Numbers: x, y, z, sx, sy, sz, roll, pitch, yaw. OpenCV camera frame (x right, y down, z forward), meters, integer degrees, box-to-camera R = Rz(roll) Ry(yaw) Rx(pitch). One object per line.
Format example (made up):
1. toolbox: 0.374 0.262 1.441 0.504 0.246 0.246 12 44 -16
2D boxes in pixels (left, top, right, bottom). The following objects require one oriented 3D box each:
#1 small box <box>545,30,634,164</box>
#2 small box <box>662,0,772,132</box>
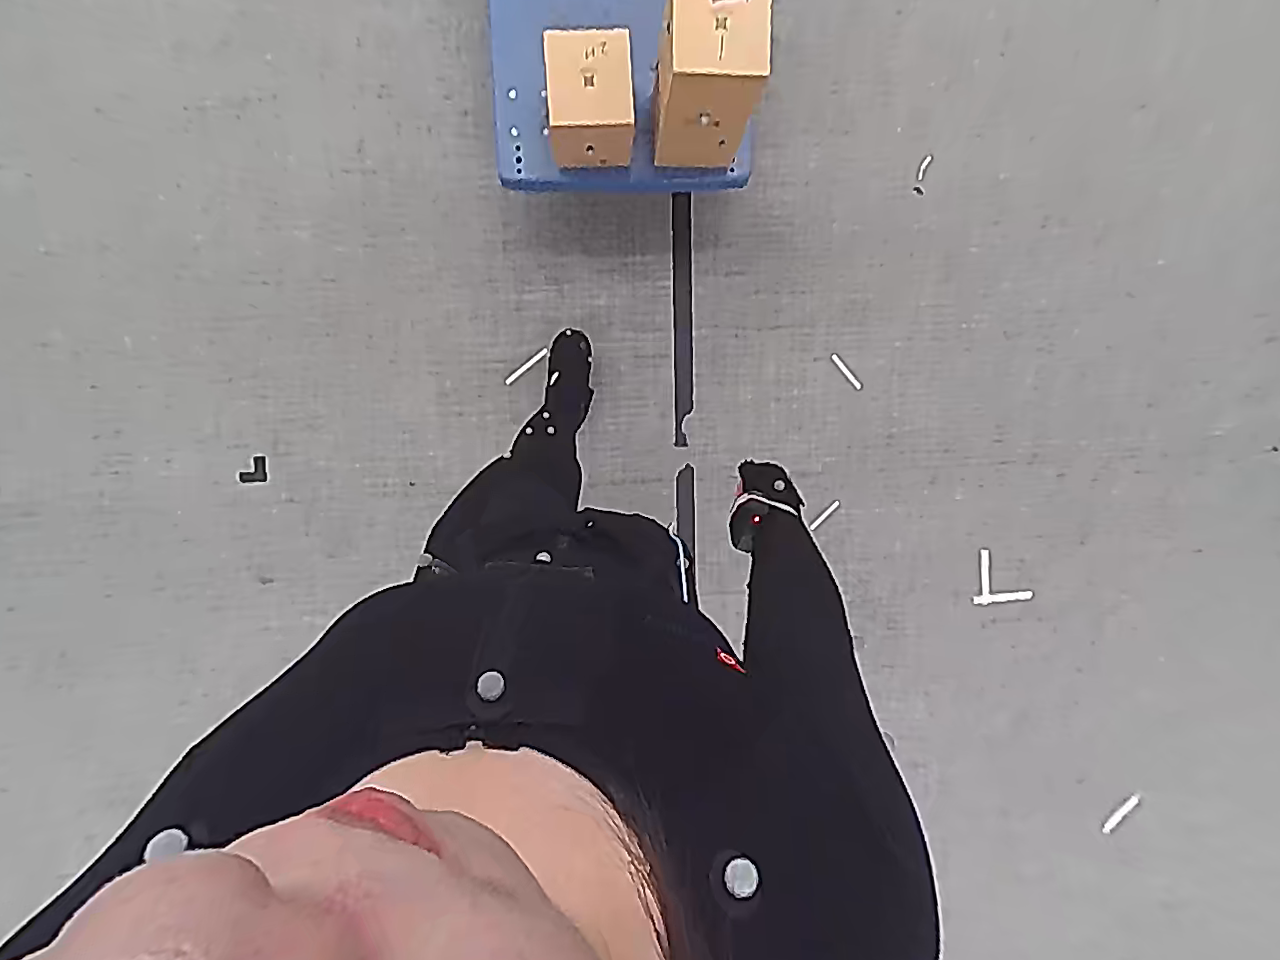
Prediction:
1. small box: -0.100 -0.778 1.117 0.168 0.176 0.179 -4 95 -4
2. small box: 0.130 -0.764 0.968 0.168 0.176 0.179 0 95 -4
